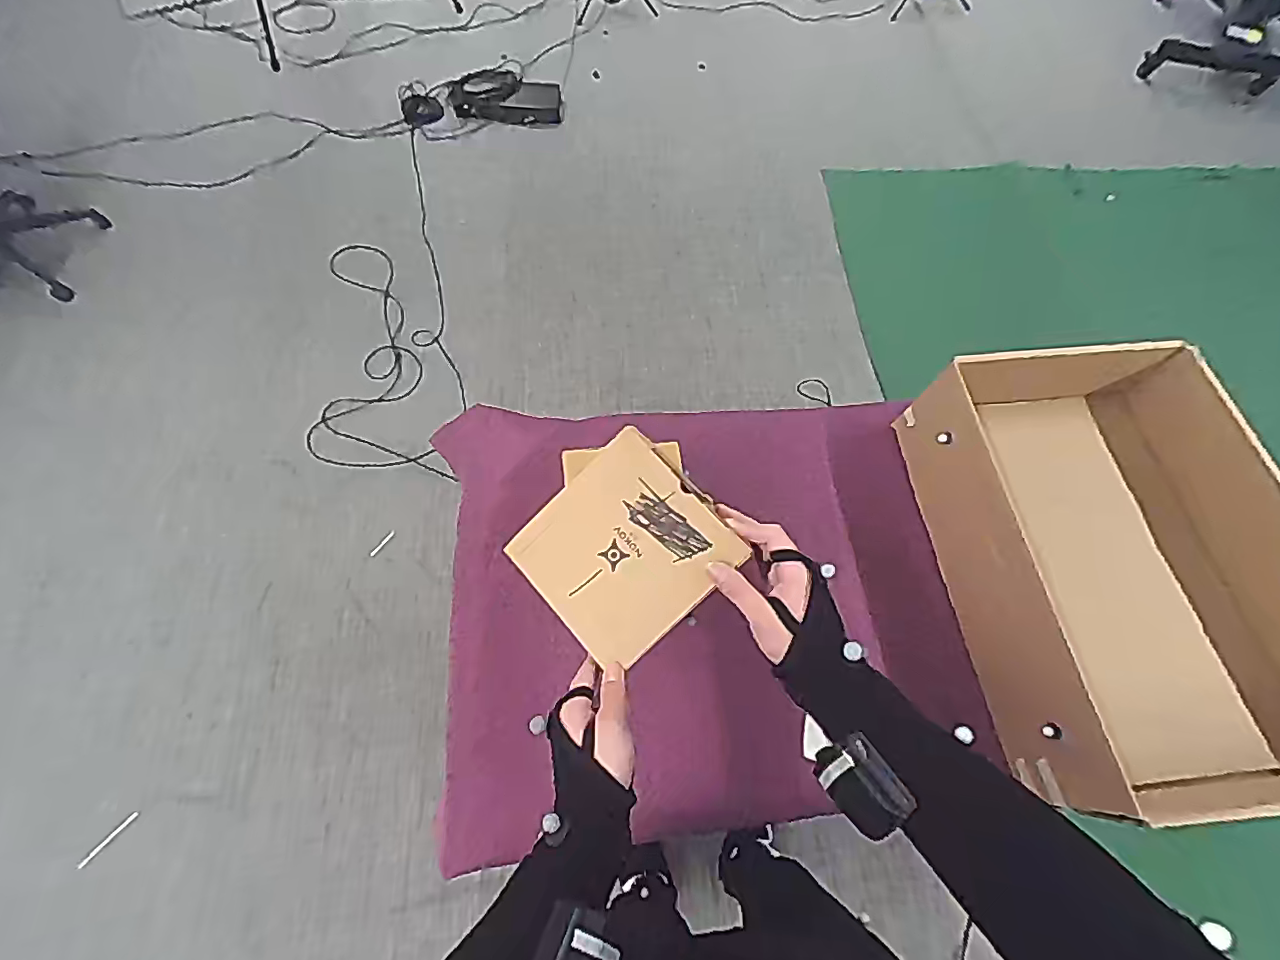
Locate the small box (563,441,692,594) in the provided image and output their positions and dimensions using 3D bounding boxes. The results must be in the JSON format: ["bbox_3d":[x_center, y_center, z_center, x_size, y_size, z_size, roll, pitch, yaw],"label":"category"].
[{"bbox_3d":[-0.021,0.063,0.800,0.168,0.176,0.179,-5,63,-4],"label":"small box"}]
